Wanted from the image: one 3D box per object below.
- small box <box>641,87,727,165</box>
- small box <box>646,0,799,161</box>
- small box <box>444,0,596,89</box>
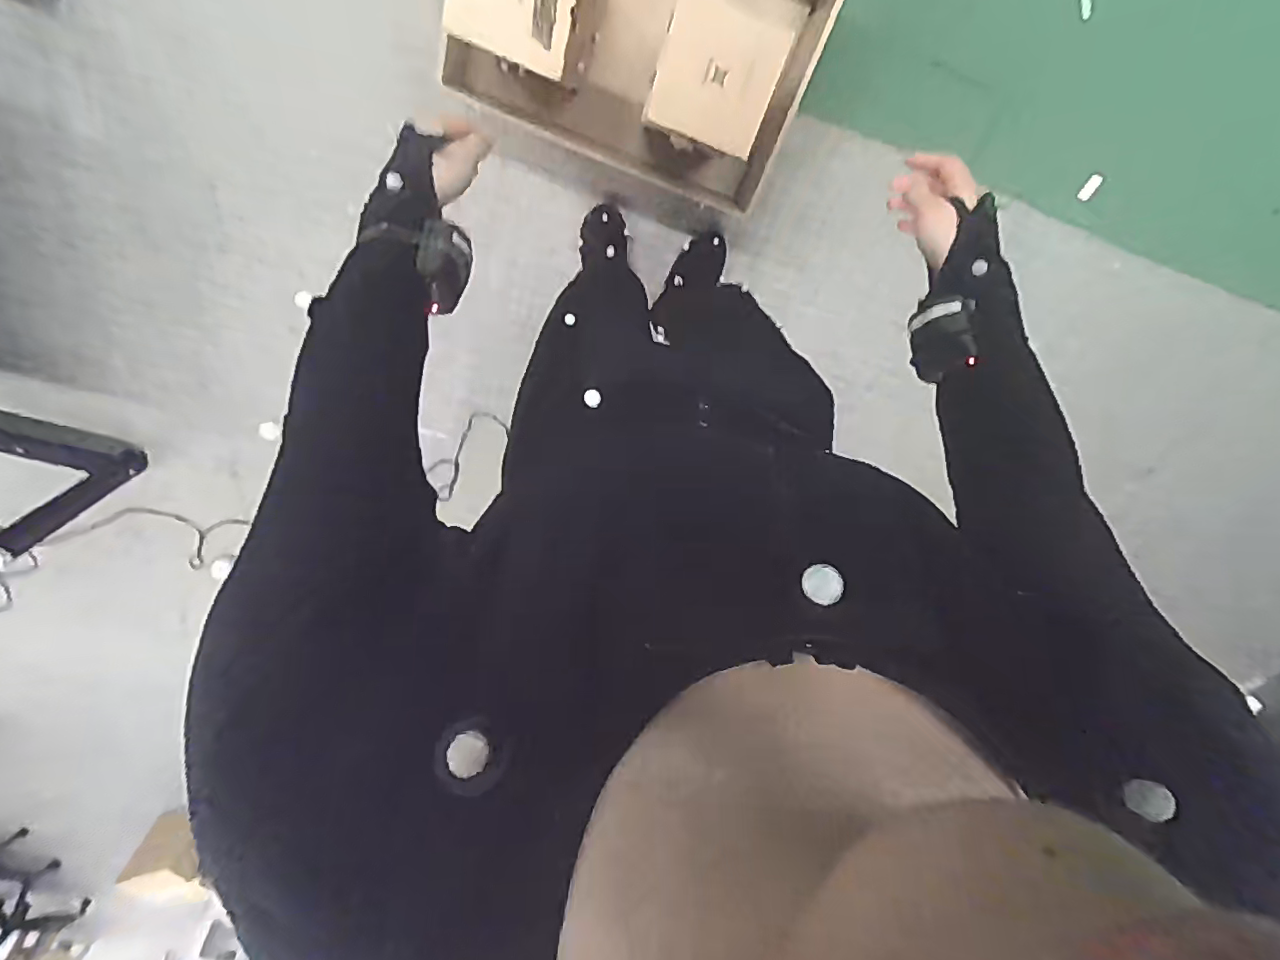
[{"bbox_3d":[0.112,-0.709,0.991,0.168,0.176,0.179,19,122,-10],"label":"small box"},{"bbox_3d":[0.118,-0.625,0.851,0.179,0.176,0.168,16,123,-9],"label":"small box"},{"bbox_3d":[-0.165,-0.705,0.797,0.179,0.176,0.168,18,121,-10],"label":"small box"}]
